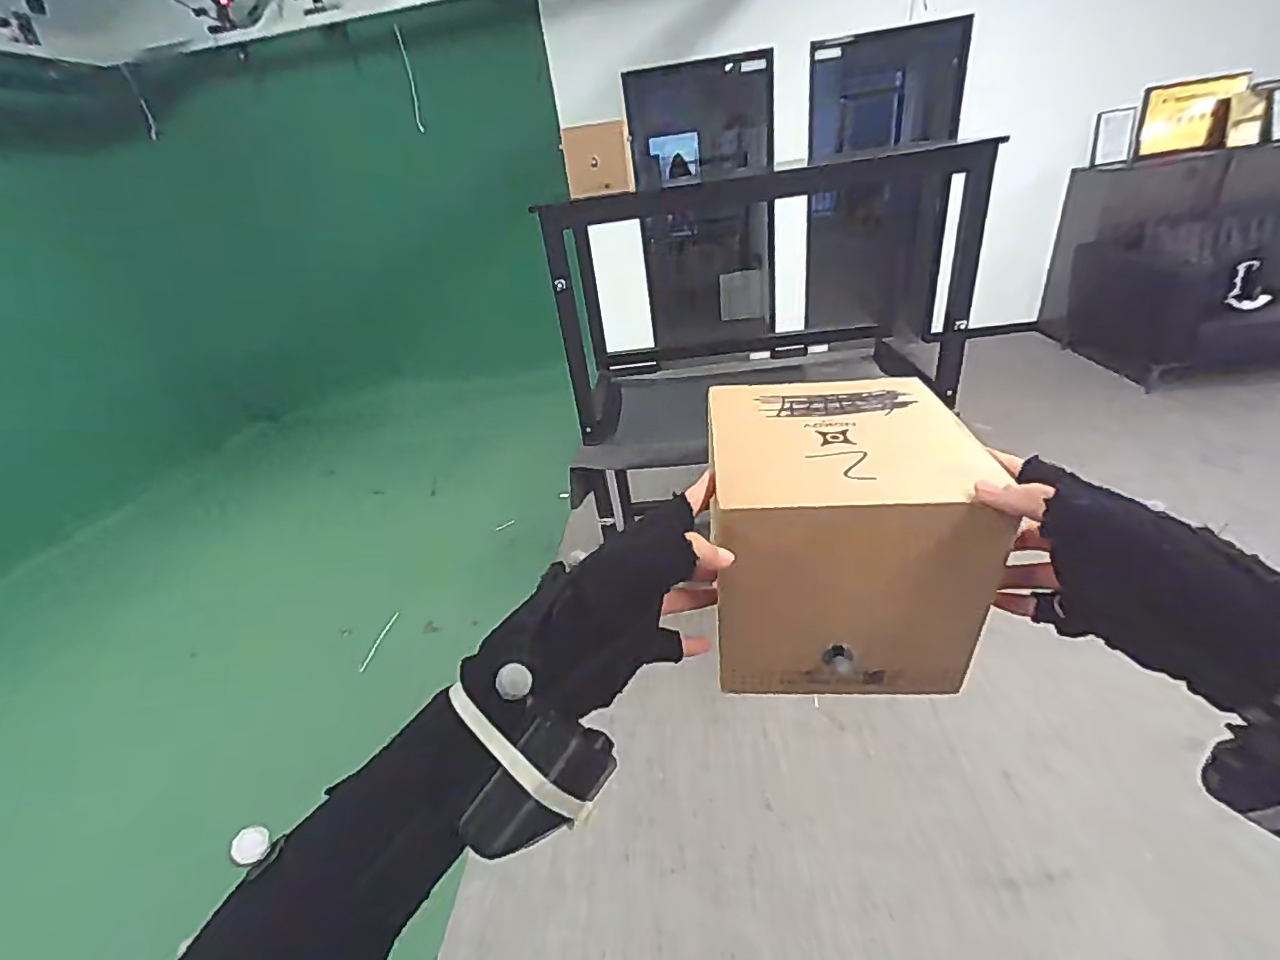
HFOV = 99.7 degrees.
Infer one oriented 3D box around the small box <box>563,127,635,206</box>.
[{"bbox_3d":[-0.107,-0.871,1.511,0.168,0.176,0.179,-5,29,6],"label":"small box"}]
